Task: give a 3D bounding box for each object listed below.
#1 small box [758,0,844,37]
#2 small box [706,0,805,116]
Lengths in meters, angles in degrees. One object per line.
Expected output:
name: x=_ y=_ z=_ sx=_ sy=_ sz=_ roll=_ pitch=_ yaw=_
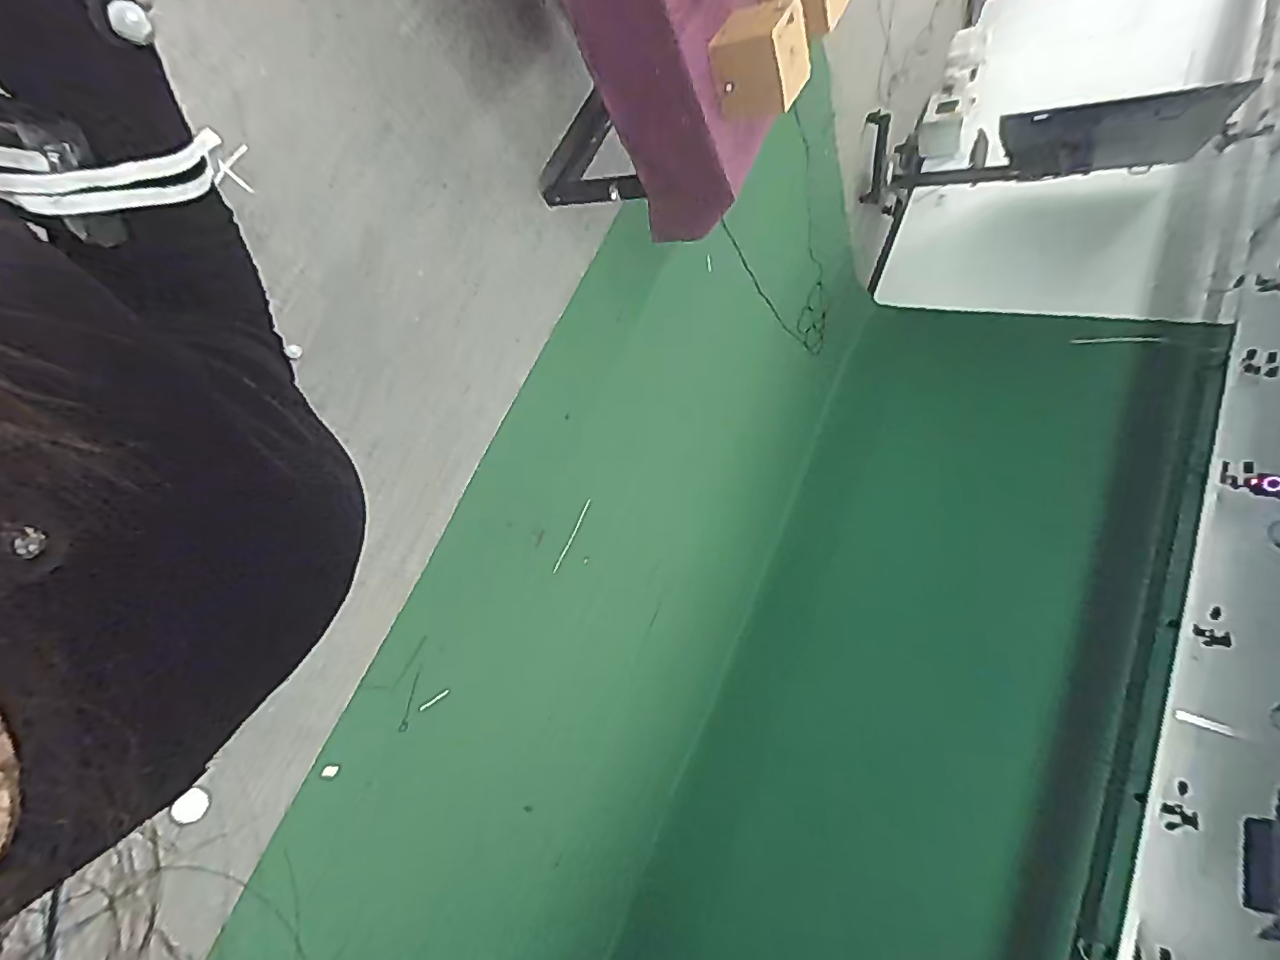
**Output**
small box: x=0.417 y=-1.284 z=1.398 sx=0.179 sy=0.176 sz=0.168 roll=-62 pitch=144 yaw=-17
small box: x=0.281 y=-1.016 z=1.309 sx=0.168 sy=0.176 sz=0.179 roll=-61 pitch=145 yaw=-20
